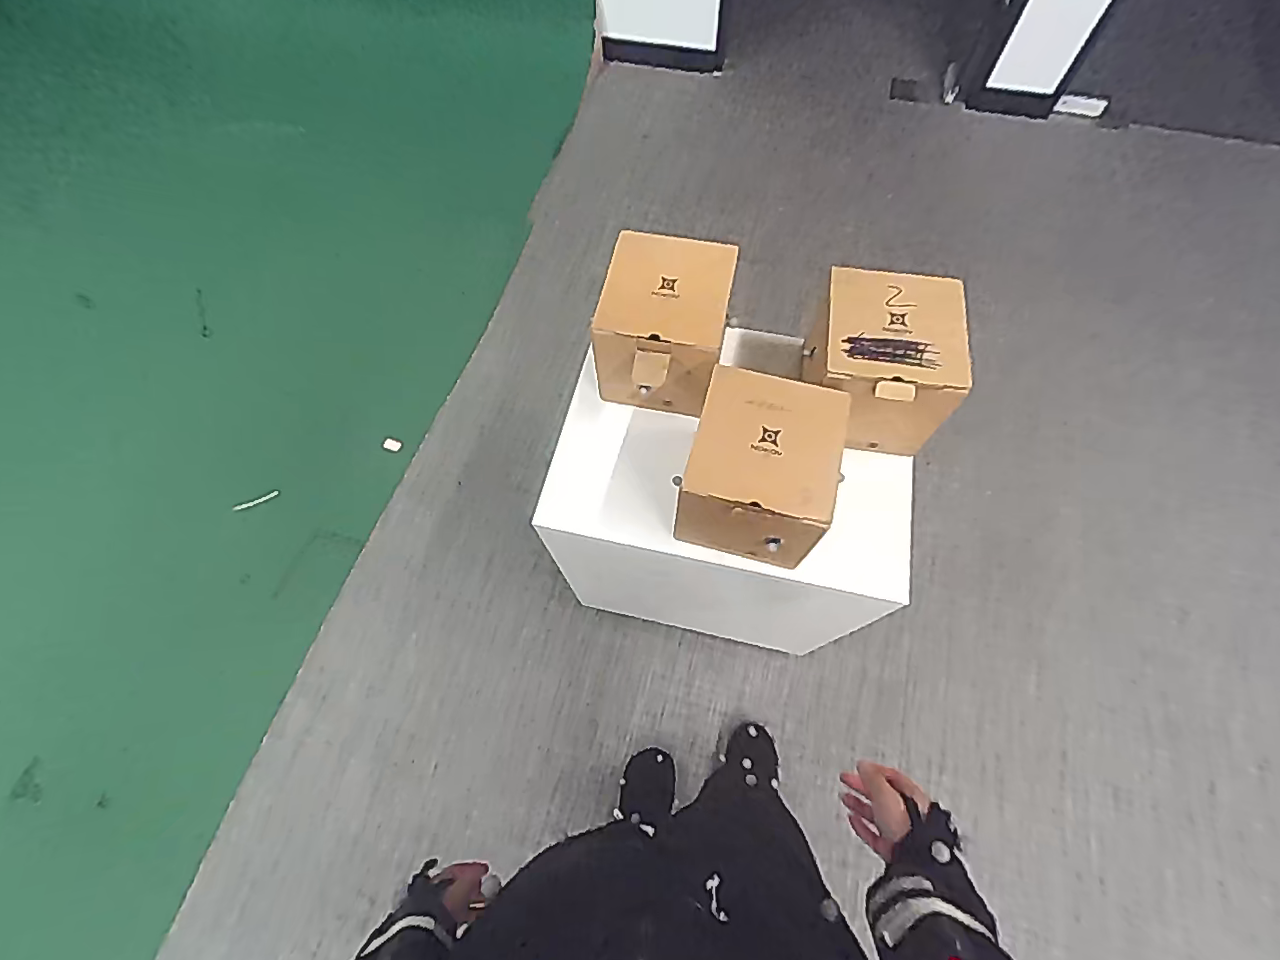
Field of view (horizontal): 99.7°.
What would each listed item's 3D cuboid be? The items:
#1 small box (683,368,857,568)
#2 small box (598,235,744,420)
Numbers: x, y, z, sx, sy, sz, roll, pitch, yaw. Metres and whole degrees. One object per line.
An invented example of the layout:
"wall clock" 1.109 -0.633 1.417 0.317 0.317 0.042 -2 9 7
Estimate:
"small box" 0.153 -0.006 0.678 0.168 0.176 0.179 15 65 8
"small box" 0.044 -0.212 0.776 0.168 0.176 0.179 11 68 6
